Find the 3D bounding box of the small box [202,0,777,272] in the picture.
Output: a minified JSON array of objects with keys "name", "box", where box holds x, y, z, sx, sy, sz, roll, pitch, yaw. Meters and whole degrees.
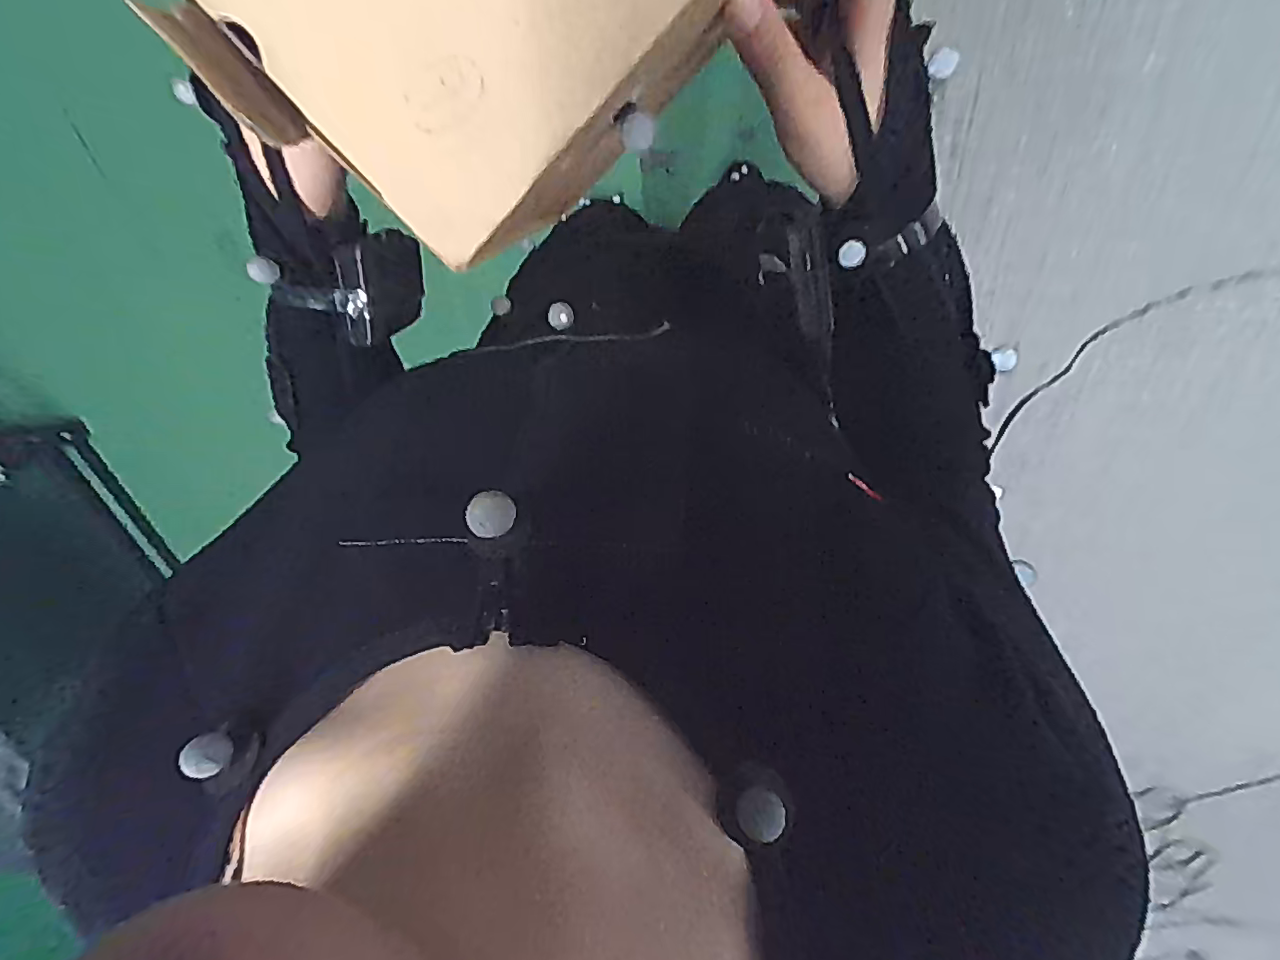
[{"name":"small box","box":[-0.041,-0.214,0.198,0.179,0.176,0.168,-35,114,25]}]
